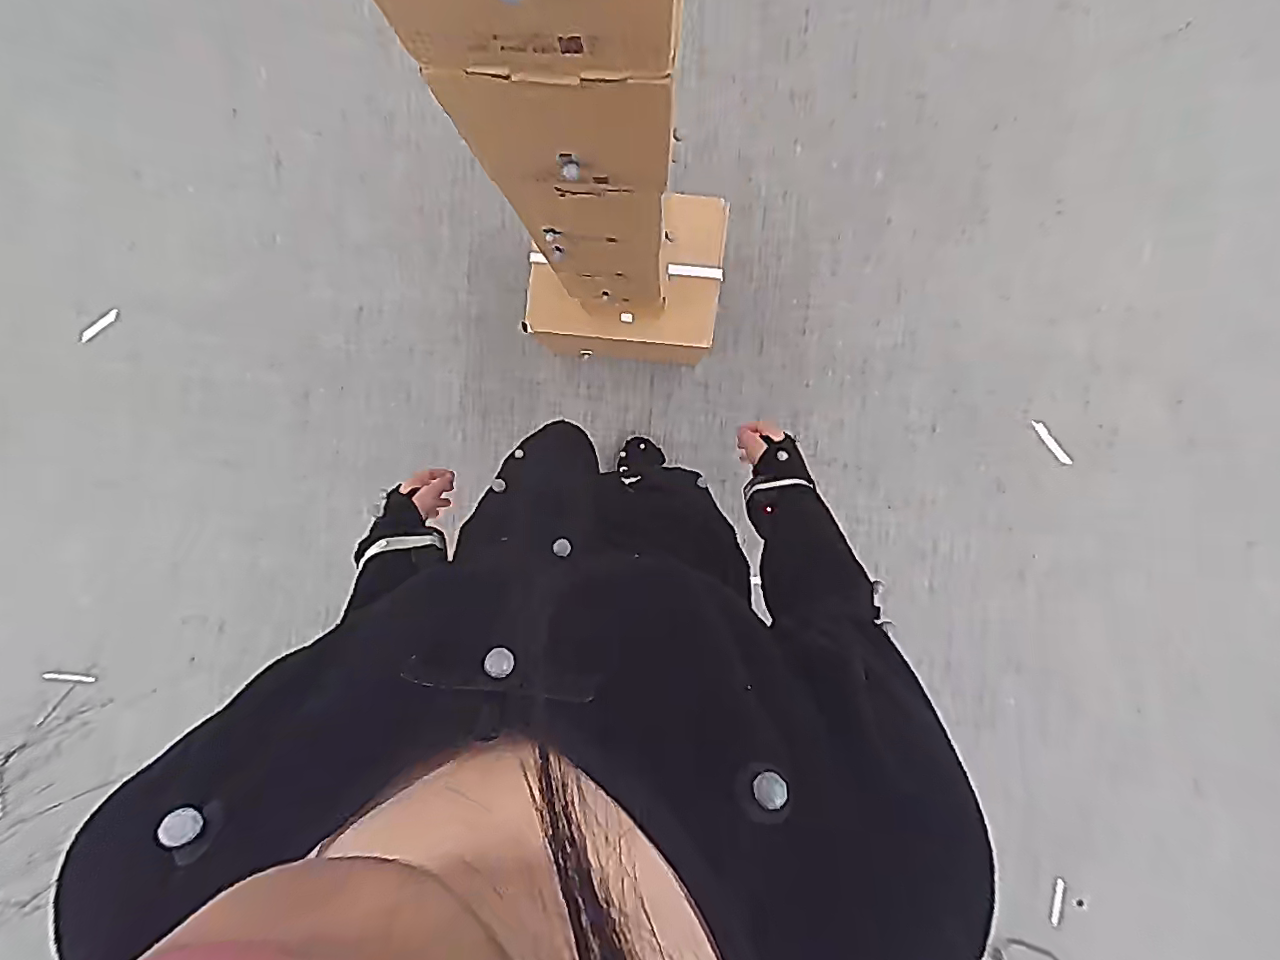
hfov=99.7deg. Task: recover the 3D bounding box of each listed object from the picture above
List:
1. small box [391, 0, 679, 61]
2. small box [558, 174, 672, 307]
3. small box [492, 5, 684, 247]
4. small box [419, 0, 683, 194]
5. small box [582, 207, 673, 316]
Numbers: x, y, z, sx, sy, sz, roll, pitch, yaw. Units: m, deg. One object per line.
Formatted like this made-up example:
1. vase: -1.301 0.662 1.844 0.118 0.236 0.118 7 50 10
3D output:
1. small box: -0.059 -0.336 0.250 0.168 0.176 0.179 2 97 1
2. small box: -0.038 -0.402 0.903 0.168 0.176 0.179 4 96 1
3. small box: -0.047 -0.367 0.577 0.168 0.176 0.179 6 95 1
4. small box: -0.051 -0.349 0.413 0.168 0.176 0.179 4 97 2
5. small box: -0.030 -0.424 1.063 0.179 0.176 0.168 3 96 0
